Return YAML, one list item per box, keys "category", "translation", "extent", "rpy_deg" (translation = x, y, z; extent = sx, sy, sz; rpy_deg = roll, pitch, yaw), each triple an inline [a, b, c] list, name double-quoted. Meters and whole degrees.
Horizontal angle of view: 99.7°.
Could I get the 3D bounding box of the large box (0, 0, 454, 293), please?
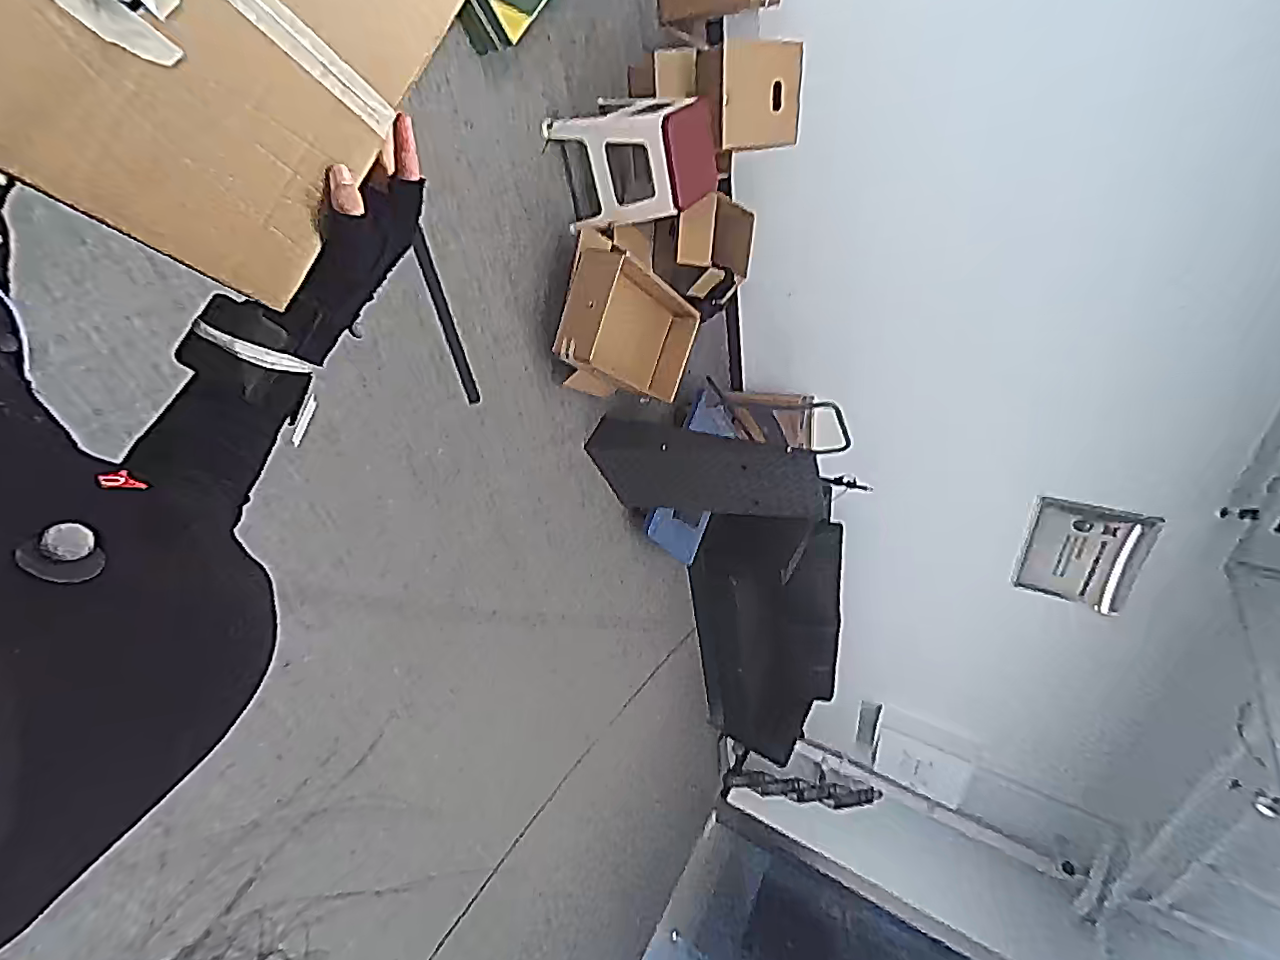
- category: "large box"
  translation: [-0.396, -0.384, 0.328]
  extent: [0.320, 0.320, 0.408]
  rpy_deg: [-59, 145, 1]
